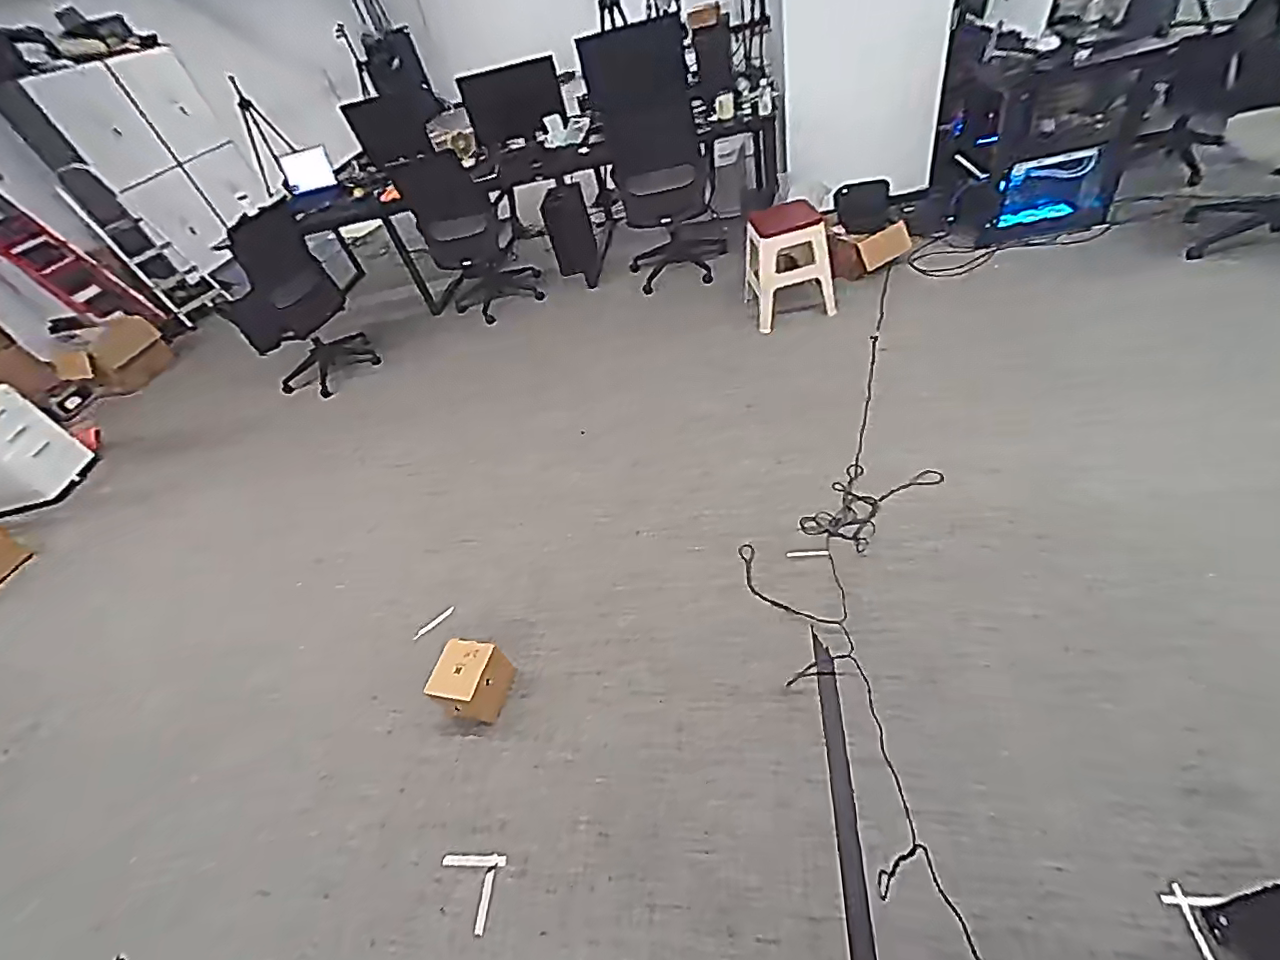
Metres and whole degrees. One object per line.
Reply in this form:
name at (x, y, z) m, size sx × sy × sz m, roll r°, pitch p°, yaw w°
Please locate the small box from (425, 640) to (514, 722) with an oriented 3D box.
small box at (-0.508, 0.614, 1.645) m, size 0.168 × 0.176 × 0.179 m, roll 2°, pitch 47°, yaw 19°
